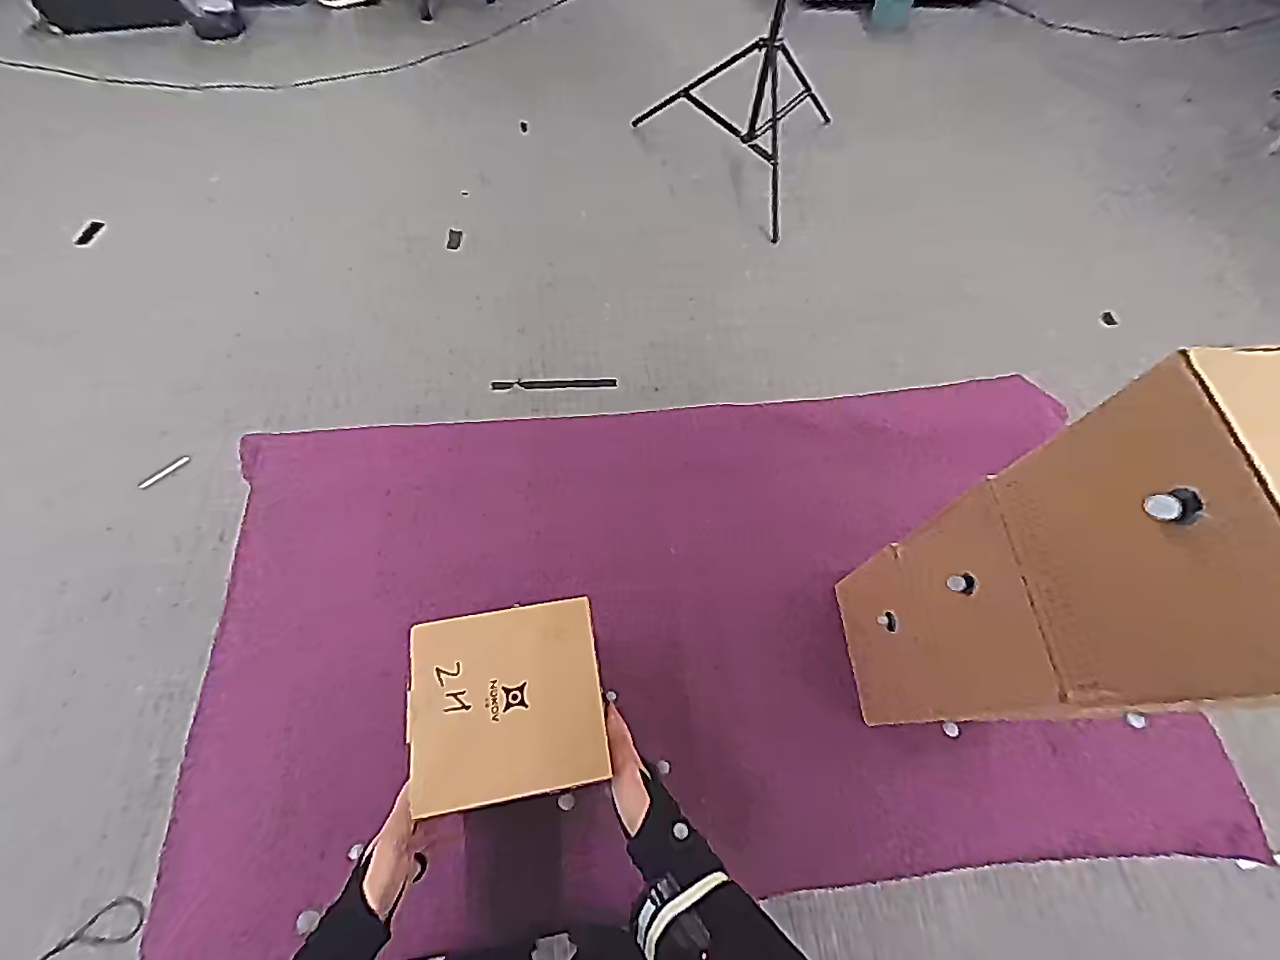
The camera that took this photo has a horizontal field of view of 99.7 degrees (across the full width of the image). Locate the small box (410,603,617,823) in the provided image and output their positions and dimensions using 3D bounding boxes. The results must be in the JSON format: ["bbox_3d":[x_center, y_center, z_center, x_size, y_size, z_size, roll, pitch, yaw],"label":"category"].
[{"bbox_3d":[-0.123,0.242,0.566,0.179,0.176,0.168,-9,61,-7],"label":"small box"}]

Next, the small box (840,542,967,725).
[{"bbox_3d":[0.352,0.180,0.625,0.168,0.176,0.179,-2,63,-3],"label":"small box"}]

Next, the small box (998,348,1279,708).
[{"bbox_3d":[0.368,0.041,0.329,0.168,0.176,0.179,0,63,-2],"label":"small box"}]

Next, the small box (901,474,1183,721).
[{"bbox_3d":[0.360,0.110,0.478,0.168,0.176,0.179,0,62,-2],"label":"small box"}]
